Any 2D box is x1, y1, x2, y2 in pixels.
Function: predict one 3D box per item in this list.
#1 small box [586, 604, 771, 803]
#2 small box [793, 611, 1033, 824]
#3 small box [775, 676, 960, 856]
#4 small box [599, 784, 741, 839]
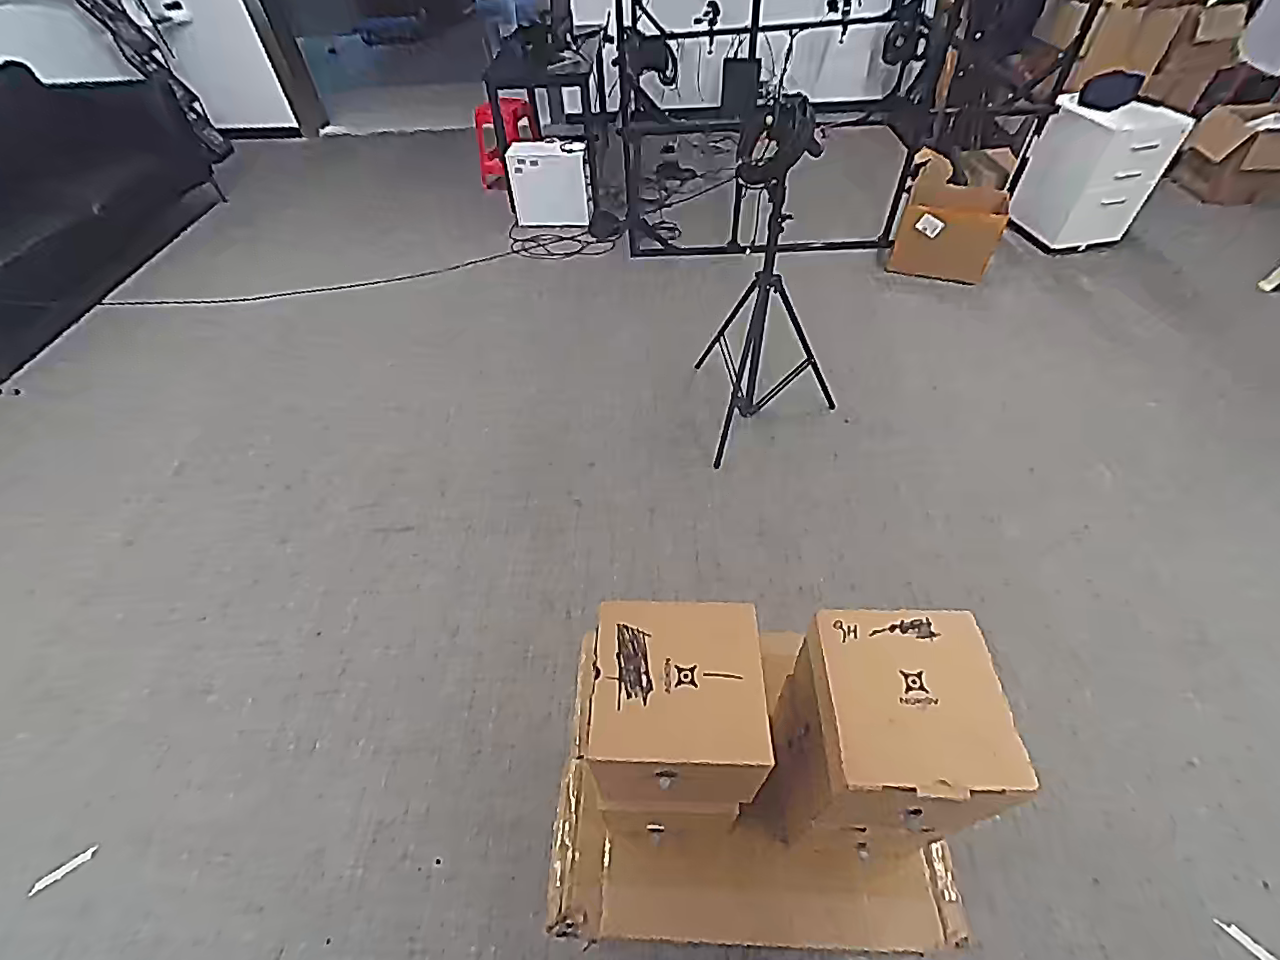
[{"bbox_3d":[0.041,0.256,0.612,0.179,0.176,0.168,0,49,2],"label":"small box"},{"bbox_3d":[0.270,0.261,0.588,0.168,0.176,0.179,0,49,4],"label":"small box"},{"bbox_3d":[0.277,0.374,0.709,0.168,0.176,0.179,-2,49,4],"label":"small box"},{"bbox_3d":[0.039,0.368,0.732,0.168,0.176,0.179,-1,50,3],"label":"small box"}]
